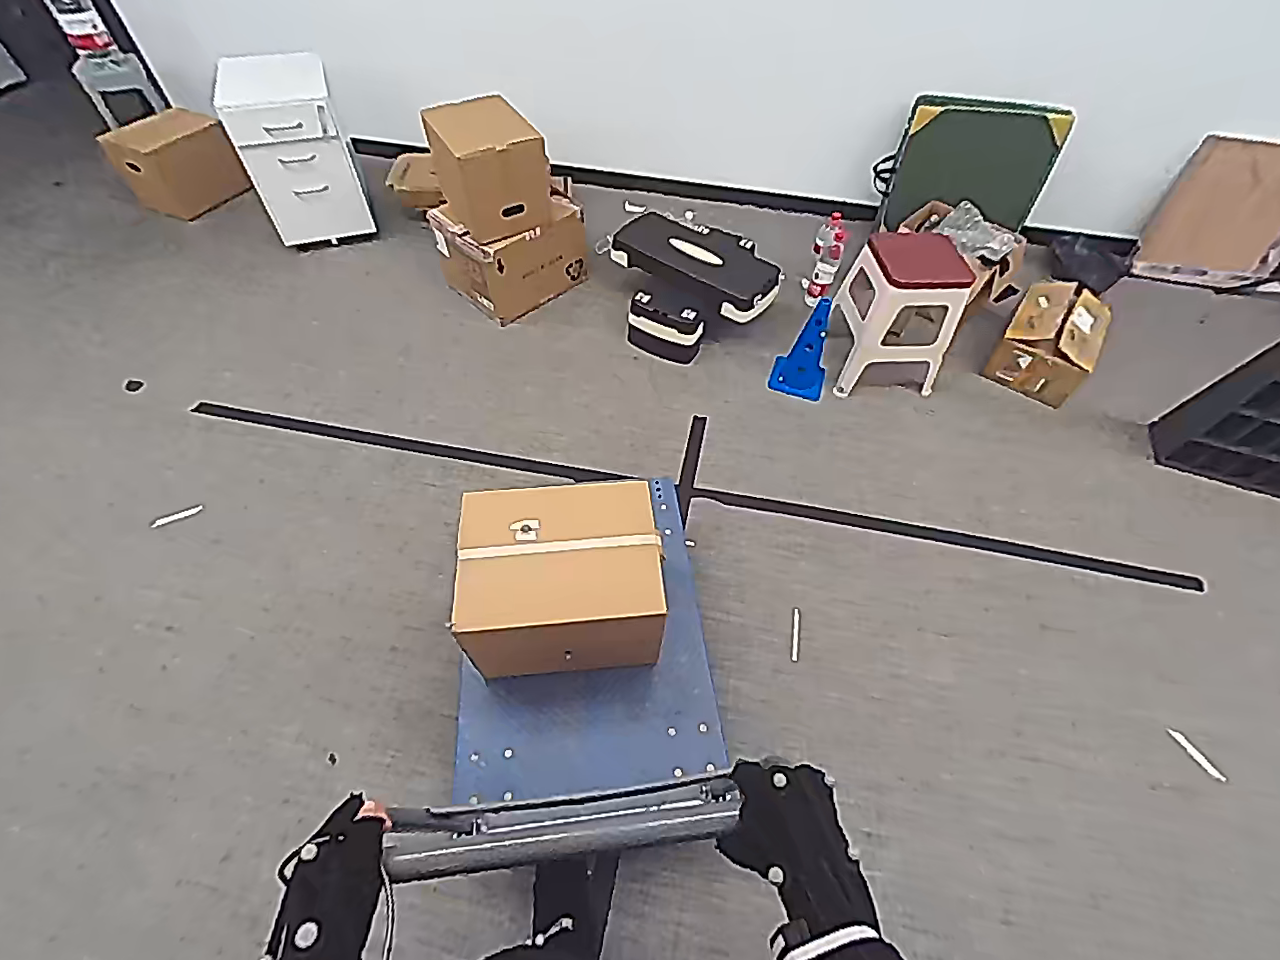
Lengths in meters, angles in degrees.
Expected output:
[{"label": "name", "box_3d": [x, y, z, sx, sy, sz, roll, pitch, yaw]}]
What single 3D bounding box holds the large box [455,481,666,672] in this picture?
[{"label": "large box", "box_3d": [-0.167, 0.226, 1.223, 0.408, 0.320, 0.320, -4, 55, -5]}]
